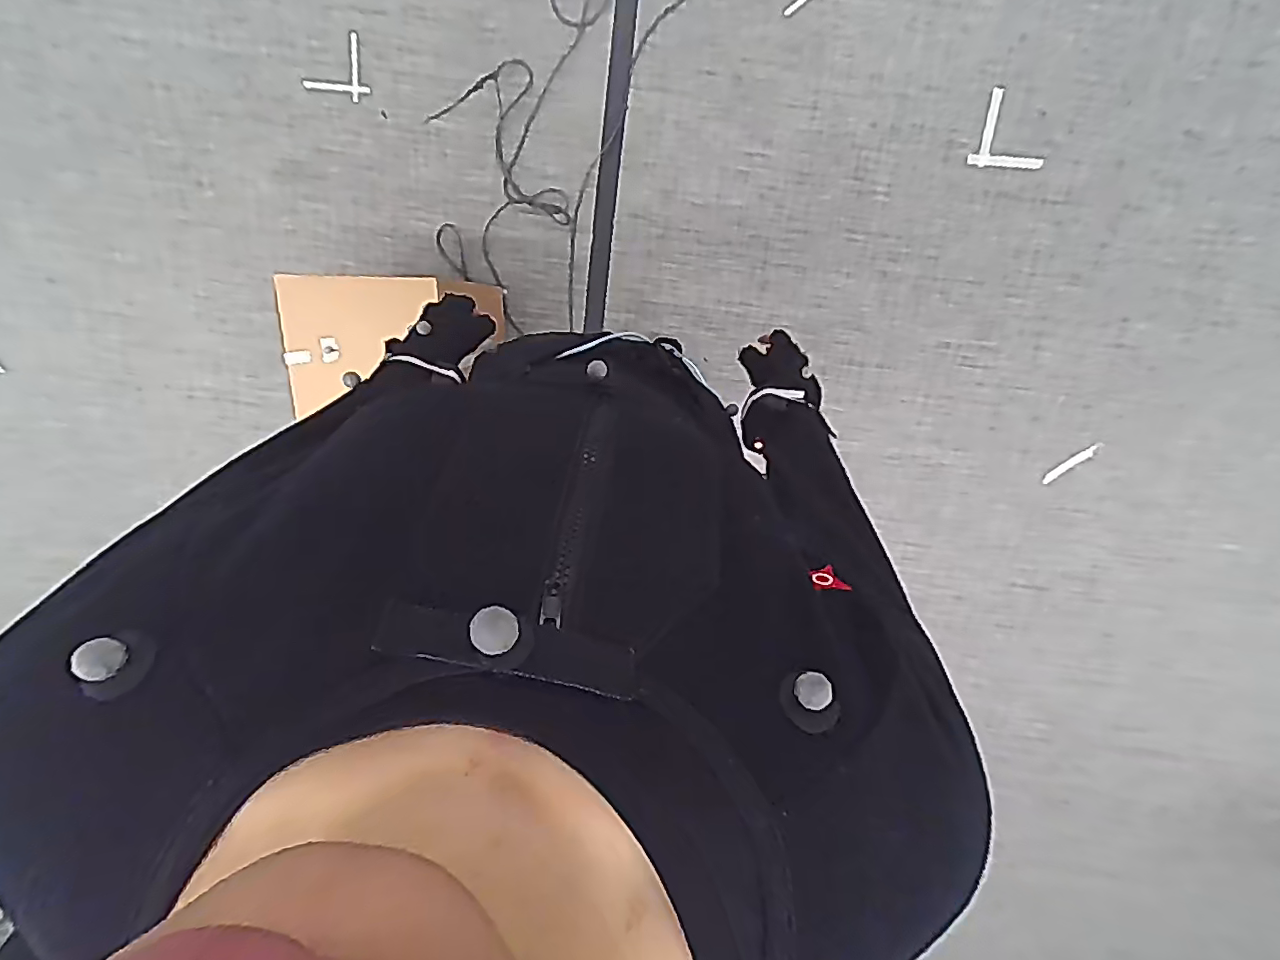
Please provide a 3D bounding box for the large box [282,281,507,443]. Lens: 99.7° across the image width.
[{"bbox_3d":[-0.518,-0.286,1.234,0.320,0.408,0.320,3,108,2],"label":"large box"}]
